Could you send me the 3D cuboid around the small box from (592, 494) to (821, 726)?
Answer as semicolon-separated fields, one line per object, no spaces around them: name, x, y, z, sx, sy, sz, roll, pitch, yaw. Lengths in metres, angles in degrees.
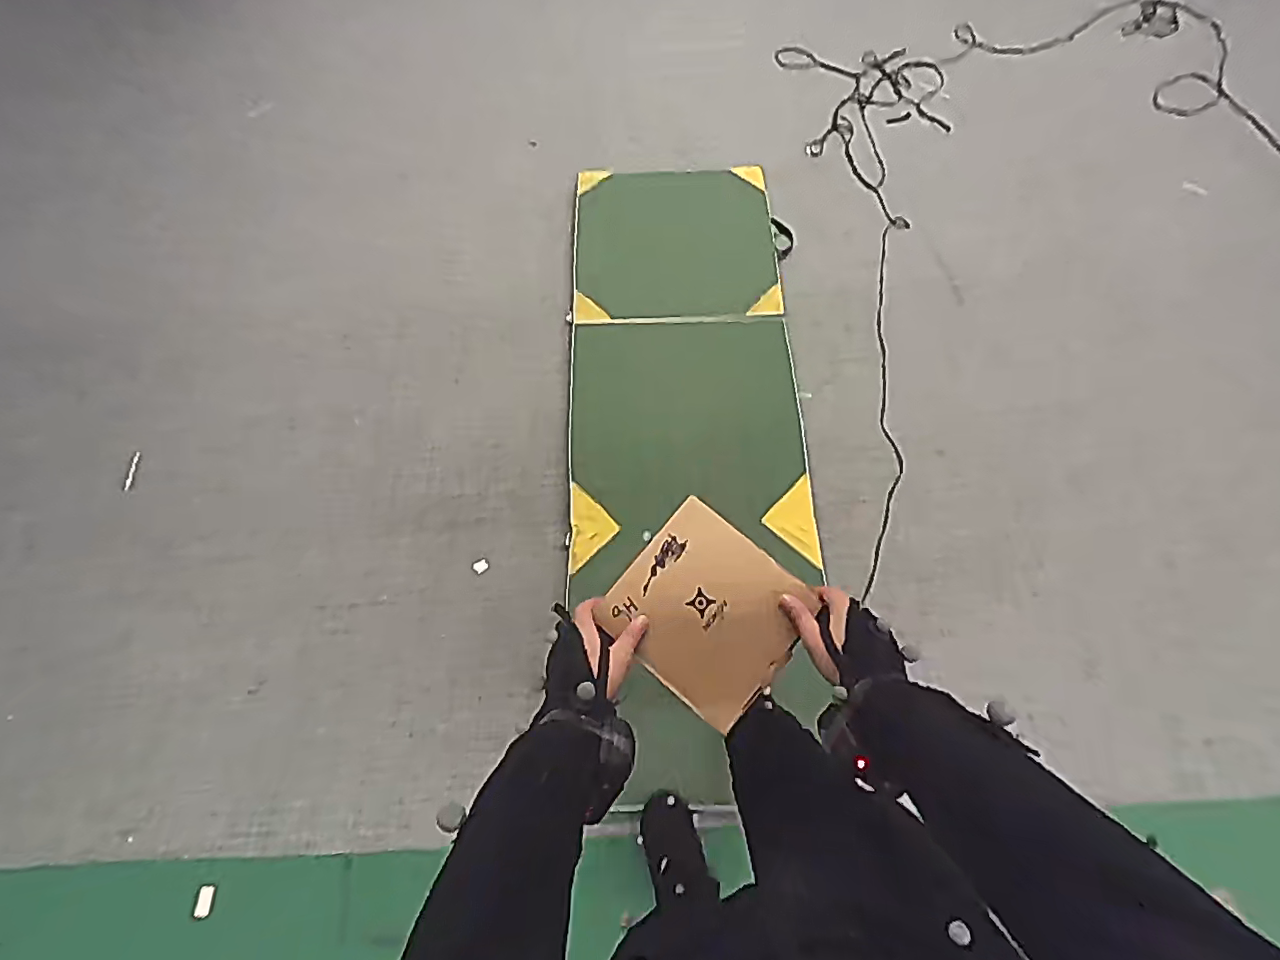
small box;0.070;0.144;0.624;0.179;0.176;0.168;40;80;11
